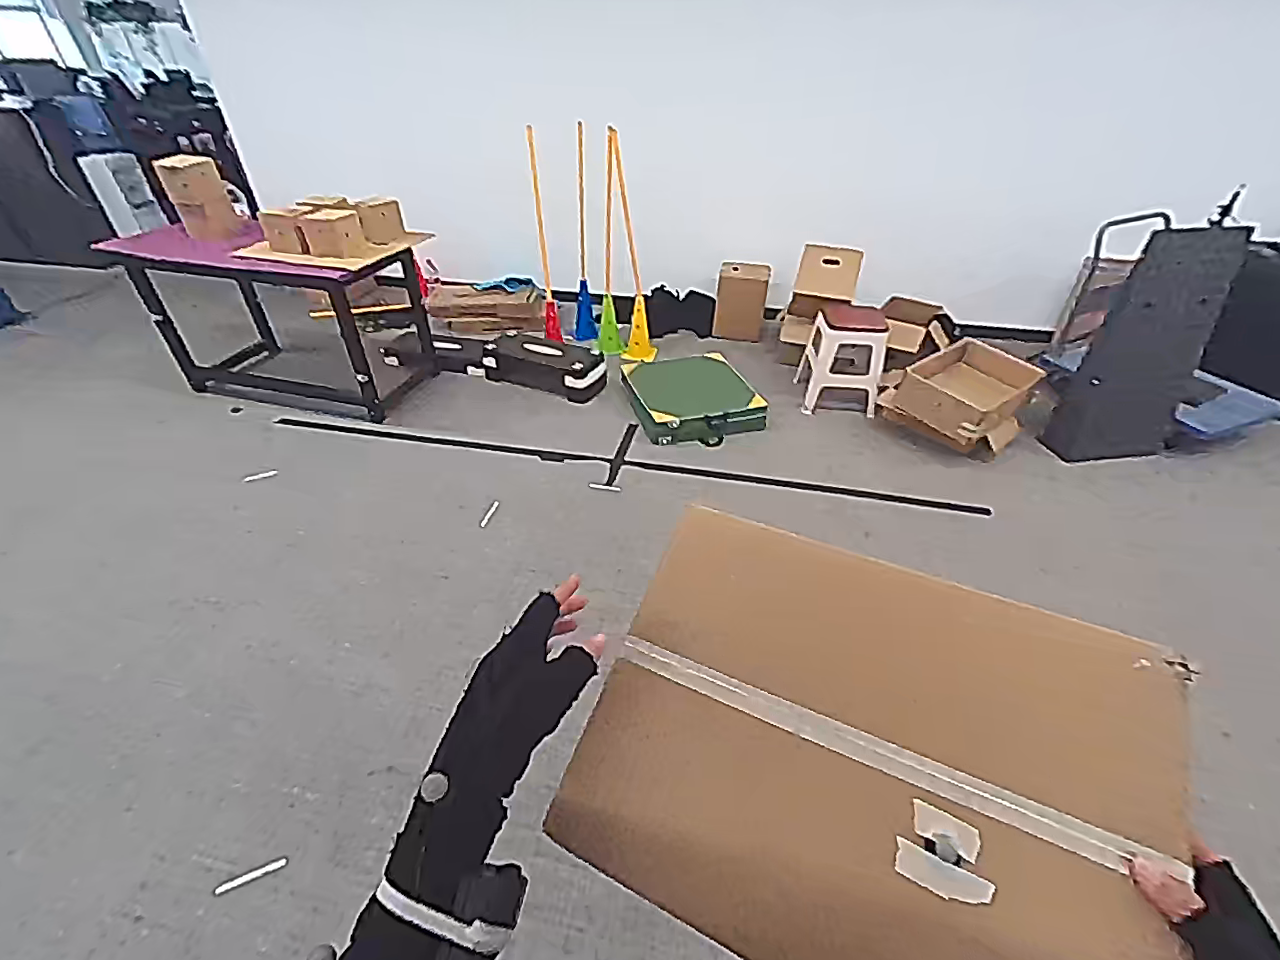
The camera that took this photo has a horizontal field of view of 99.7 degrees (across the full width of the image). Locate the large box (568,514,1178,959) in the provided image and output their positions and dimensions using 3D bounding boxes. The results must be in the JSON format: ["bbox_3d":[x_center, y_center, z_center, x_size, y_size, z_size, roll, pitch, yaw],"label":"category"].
[{"bbox_3d":[0.203,0.286,0.553,0.408,0.320,0.320,17,64,22],"label":"large box"}]
